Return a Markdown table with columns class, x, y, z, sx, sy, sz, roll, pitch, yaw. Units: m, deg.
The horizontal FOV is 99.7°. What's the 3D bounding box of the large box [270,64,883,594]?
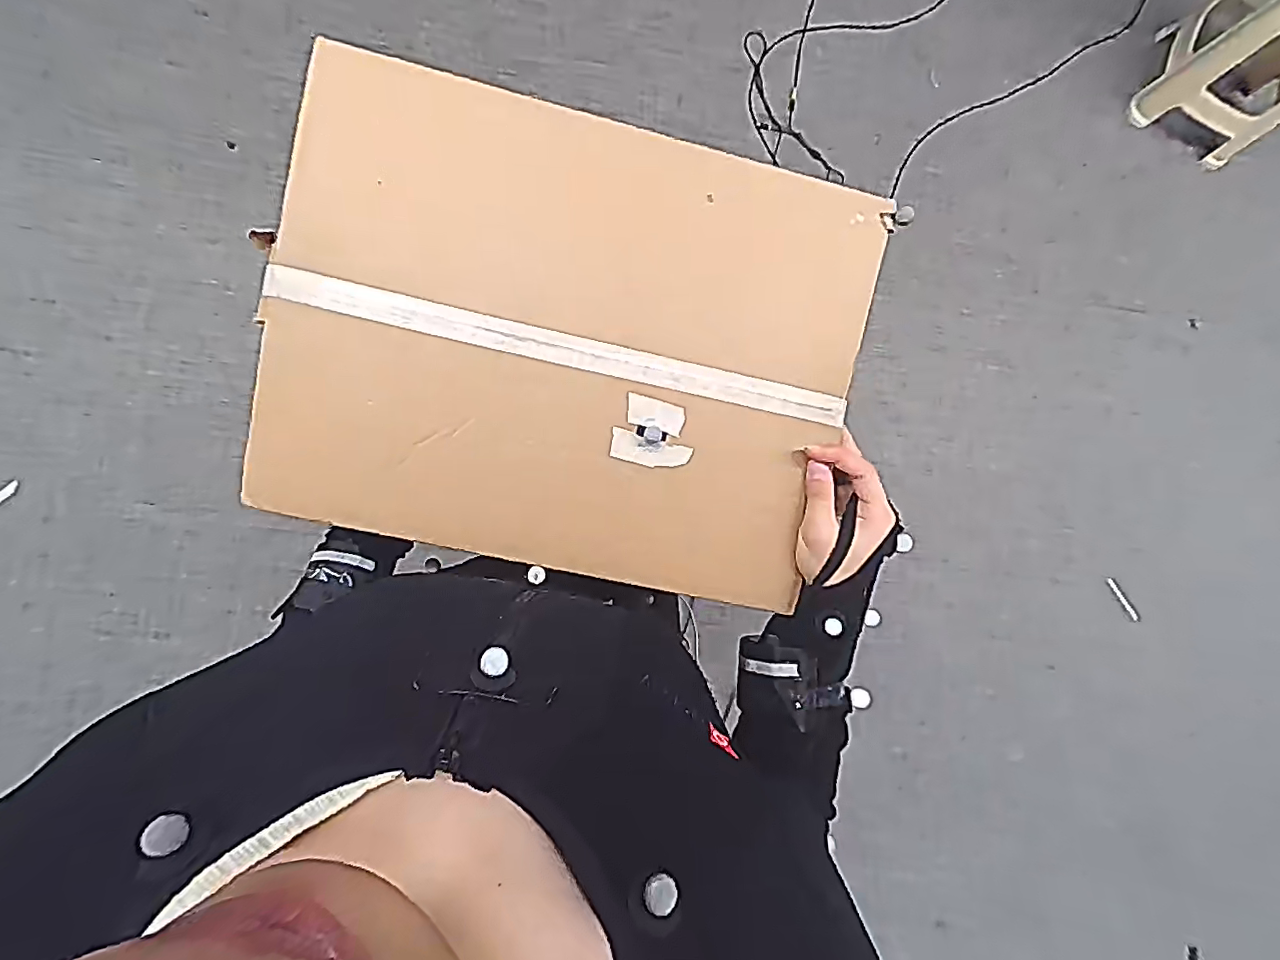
| class | x | y | z | sx | sy | sz | roll | pitch | yaw |
| --- | --- | --- | --- | --- | --- | --- | --- | --- | --- |
| large box | -0.056 | -0.108 | 0.538 | 0.408 | 0.320 | 0.320 | 12 | 95 | -7 |
